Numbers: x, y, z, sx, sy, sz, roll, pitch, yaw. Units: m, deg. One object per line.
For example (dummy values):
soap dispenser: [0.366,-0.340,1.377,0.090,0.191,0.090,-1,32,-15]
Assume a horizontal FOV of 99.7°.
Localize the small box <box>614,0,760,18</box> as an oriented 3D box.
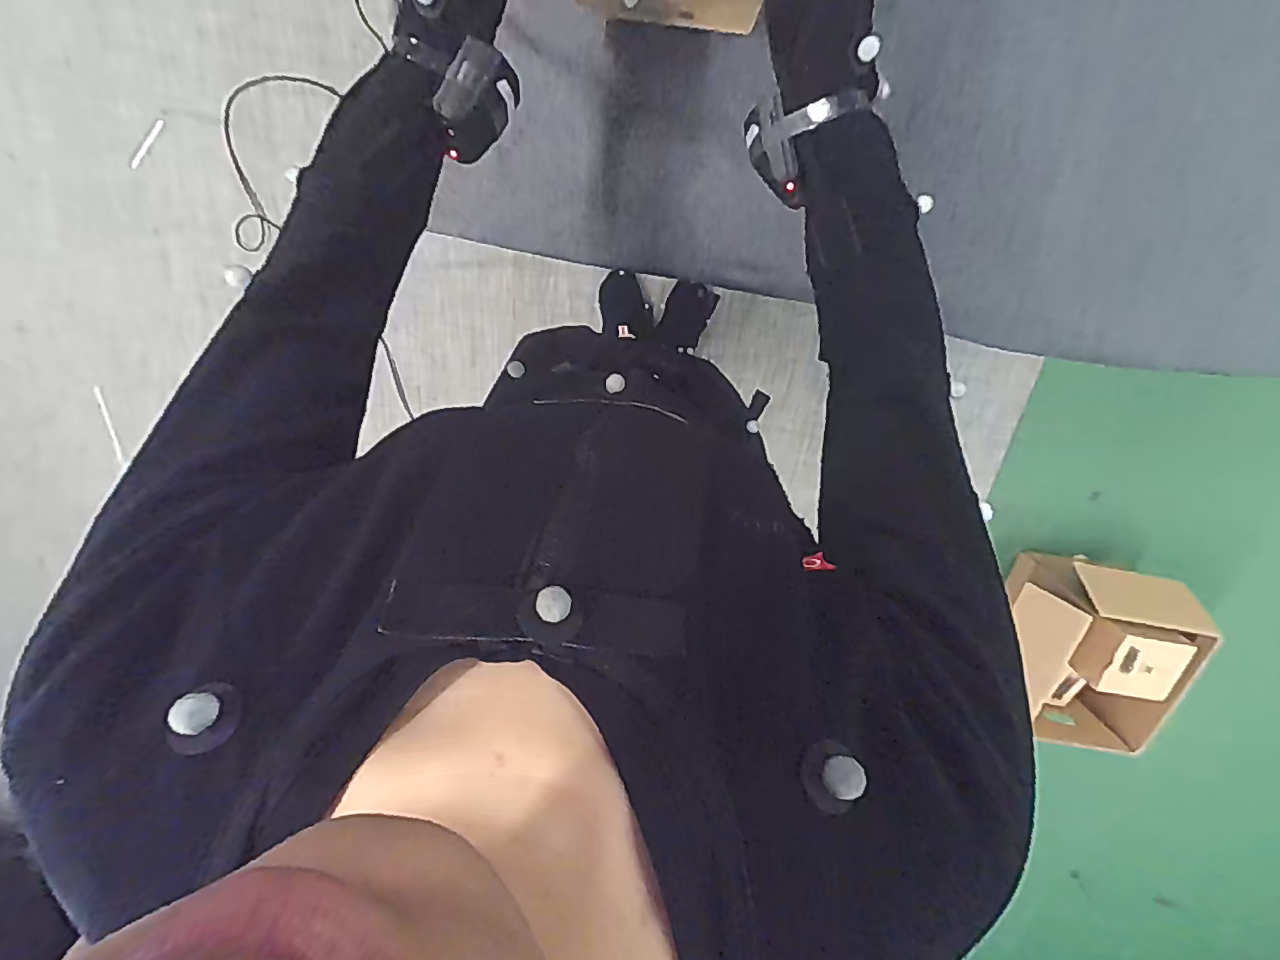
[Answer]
small box: [0.030,-0.479,0.397,0.168,0.176,0.179,8,115,1]
